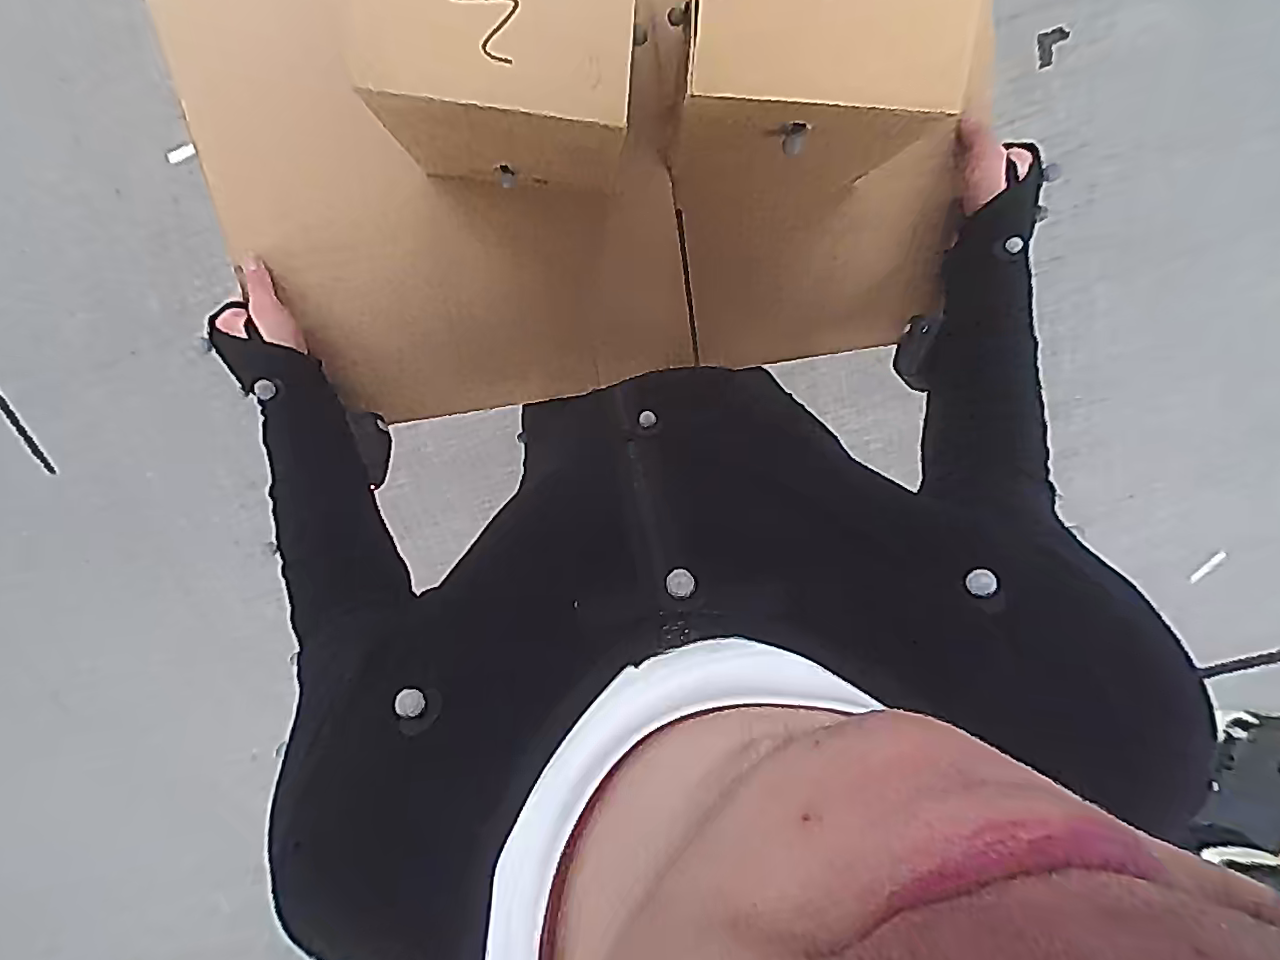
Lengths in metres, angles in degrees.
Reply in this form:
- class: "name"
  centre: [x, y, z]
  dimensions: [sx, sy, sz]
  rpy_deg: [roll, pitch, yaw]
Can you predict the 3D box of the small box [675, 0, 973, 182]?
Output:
- class: "small box"
  centre: [0.125, -0.341, 0.412]
  dimensions: [0.179, 0.176, 0.168]
  rpy_deg: [3, 105, -1]
